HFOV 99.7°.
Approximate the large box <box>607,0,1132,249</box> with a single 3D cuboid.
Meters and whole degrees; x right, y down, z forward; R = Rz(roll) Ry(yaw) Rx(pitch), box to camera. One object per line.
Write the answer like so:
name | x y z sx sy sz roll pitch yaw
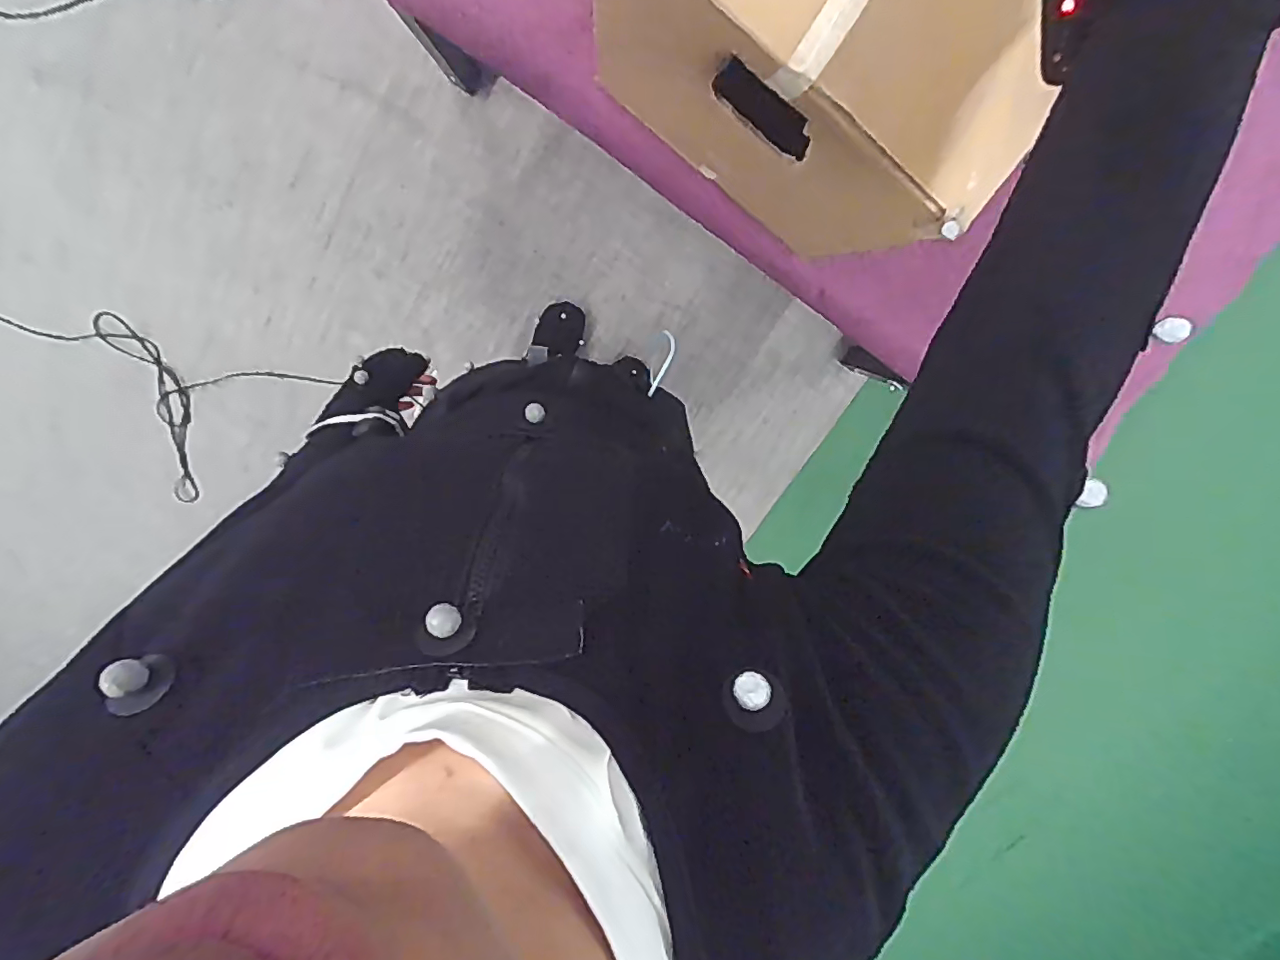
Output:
large box | 0.205 -0.467 0.453 0.320 0.320 0.408 33 105 -13
